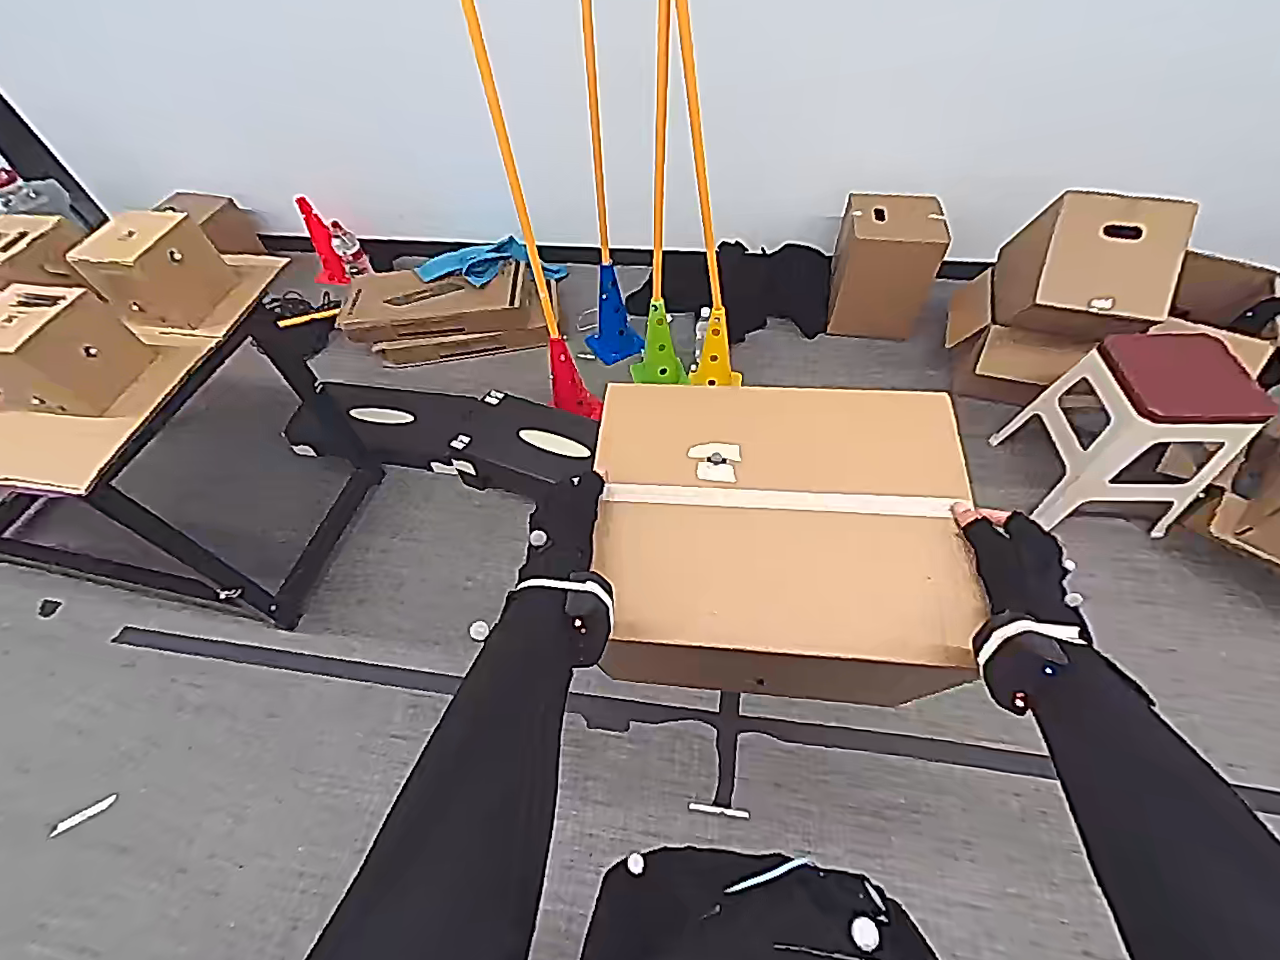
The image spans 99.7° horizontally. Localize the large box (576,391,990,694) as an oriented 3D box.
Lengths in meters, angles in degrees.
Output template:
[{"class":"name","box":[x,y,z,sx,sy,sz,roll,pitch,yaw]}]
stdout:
[{"class":"large box","box":[0.161,0.096,0.724,0.408,0.320,0.320,3,61,8]}]
